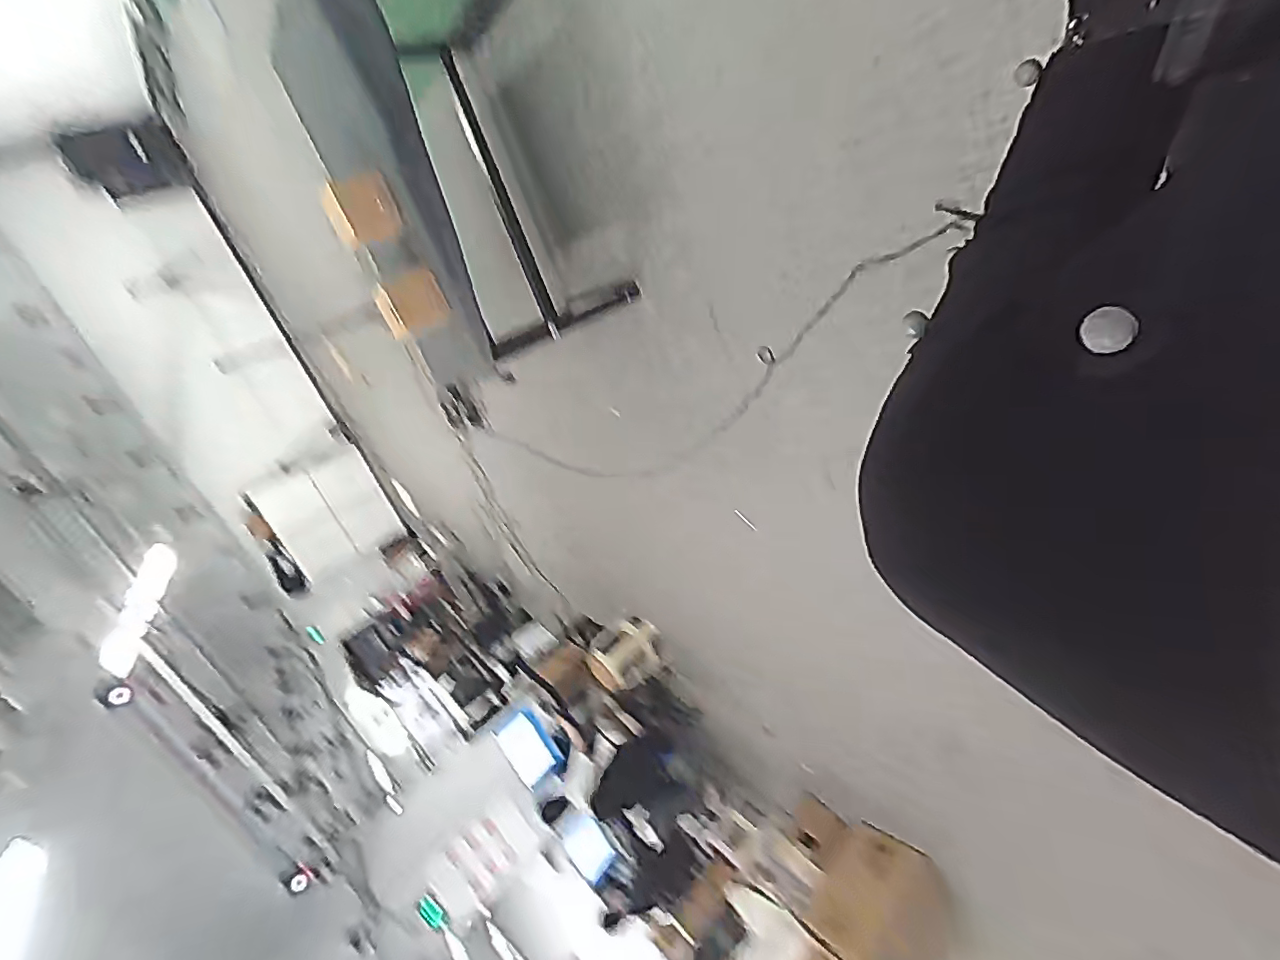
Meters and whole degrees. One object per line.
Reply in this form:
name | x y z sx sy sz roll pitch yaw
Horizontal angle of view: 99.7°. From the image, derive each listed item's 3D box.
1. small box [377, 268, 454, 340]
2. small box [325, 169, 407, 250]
small box | -0.750 -0.591 1.815 0.179 0.176 0.168 3 122 57
small box | -0.874 -0.863 1.731 0.179 0.176 0.168 5 125 53
